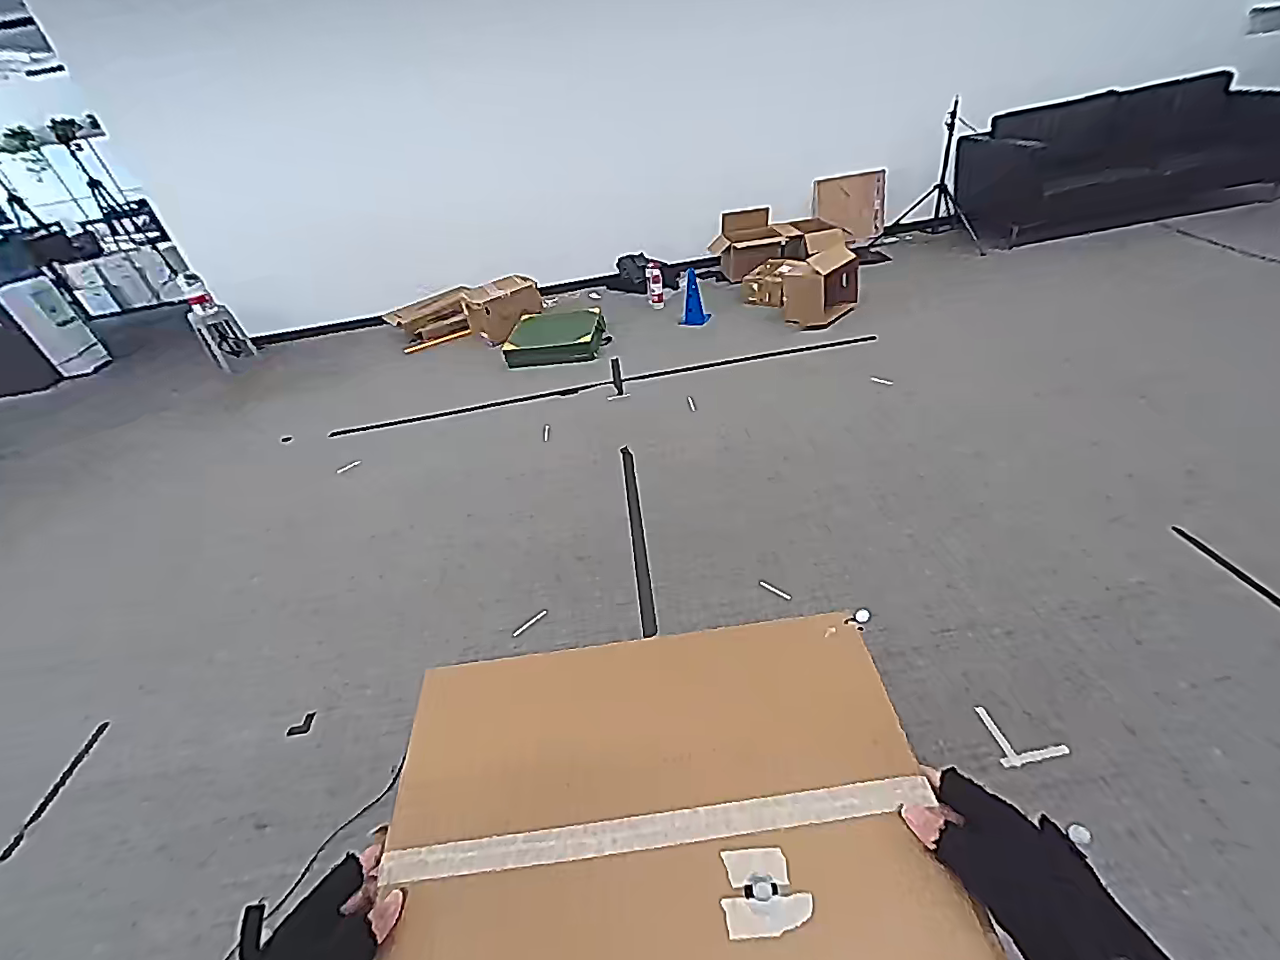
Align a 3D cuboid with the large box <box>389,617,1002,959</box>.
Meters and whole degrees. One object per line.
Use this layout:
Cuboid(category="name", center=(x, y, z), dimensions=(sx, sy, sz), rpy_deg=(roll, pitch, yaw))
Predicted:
Cuboid(category="large box", center=(0.033, 0.371, 0.508), dimensions=(0.408, 0.320, 0.320), rpy_deg=(-8, 44, 0))
